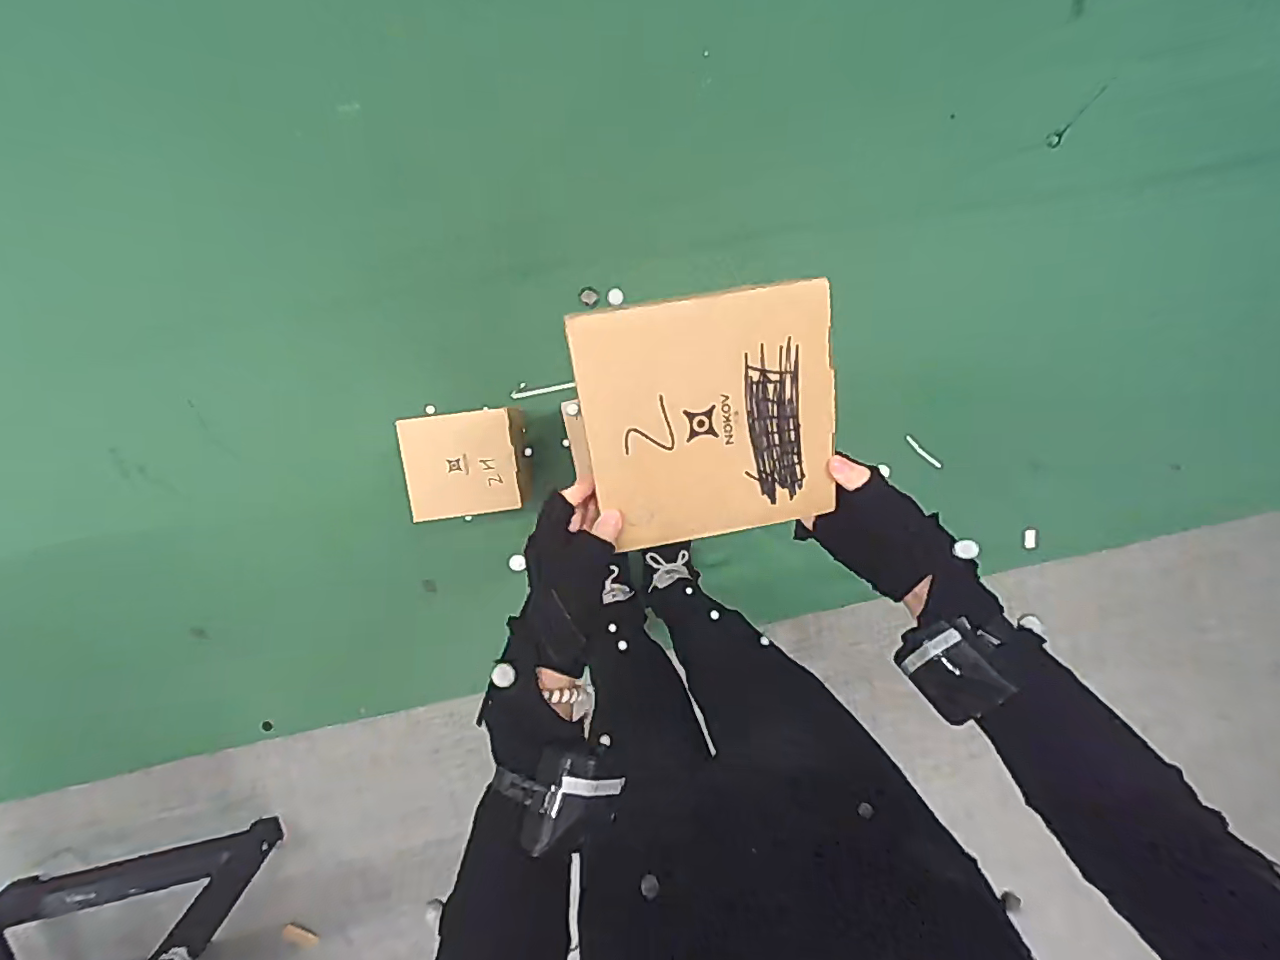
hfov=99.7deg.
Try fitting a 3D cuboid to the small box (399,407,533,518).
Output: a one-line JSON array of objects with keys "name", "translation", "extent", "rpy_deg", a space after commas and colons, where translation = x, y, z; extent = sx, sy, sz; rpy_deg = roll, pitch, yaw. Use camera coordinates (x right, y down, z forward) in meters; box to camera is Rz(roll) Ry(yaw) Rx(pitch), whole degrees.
[{"name": "small box", "translation": [-0.291, -0.036, 0.942], "extent": [0.179, 0.176, 0.168], "rpy_deg": [-7, 98, -5]}]

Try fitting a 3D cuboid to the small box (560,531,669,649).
[{"name": "small box", "translation": [-0.058, 0.236, 1.188], "extent": [0.179, 0.176, 0.168], "rpy_deg": [26, 104, 9]}]
